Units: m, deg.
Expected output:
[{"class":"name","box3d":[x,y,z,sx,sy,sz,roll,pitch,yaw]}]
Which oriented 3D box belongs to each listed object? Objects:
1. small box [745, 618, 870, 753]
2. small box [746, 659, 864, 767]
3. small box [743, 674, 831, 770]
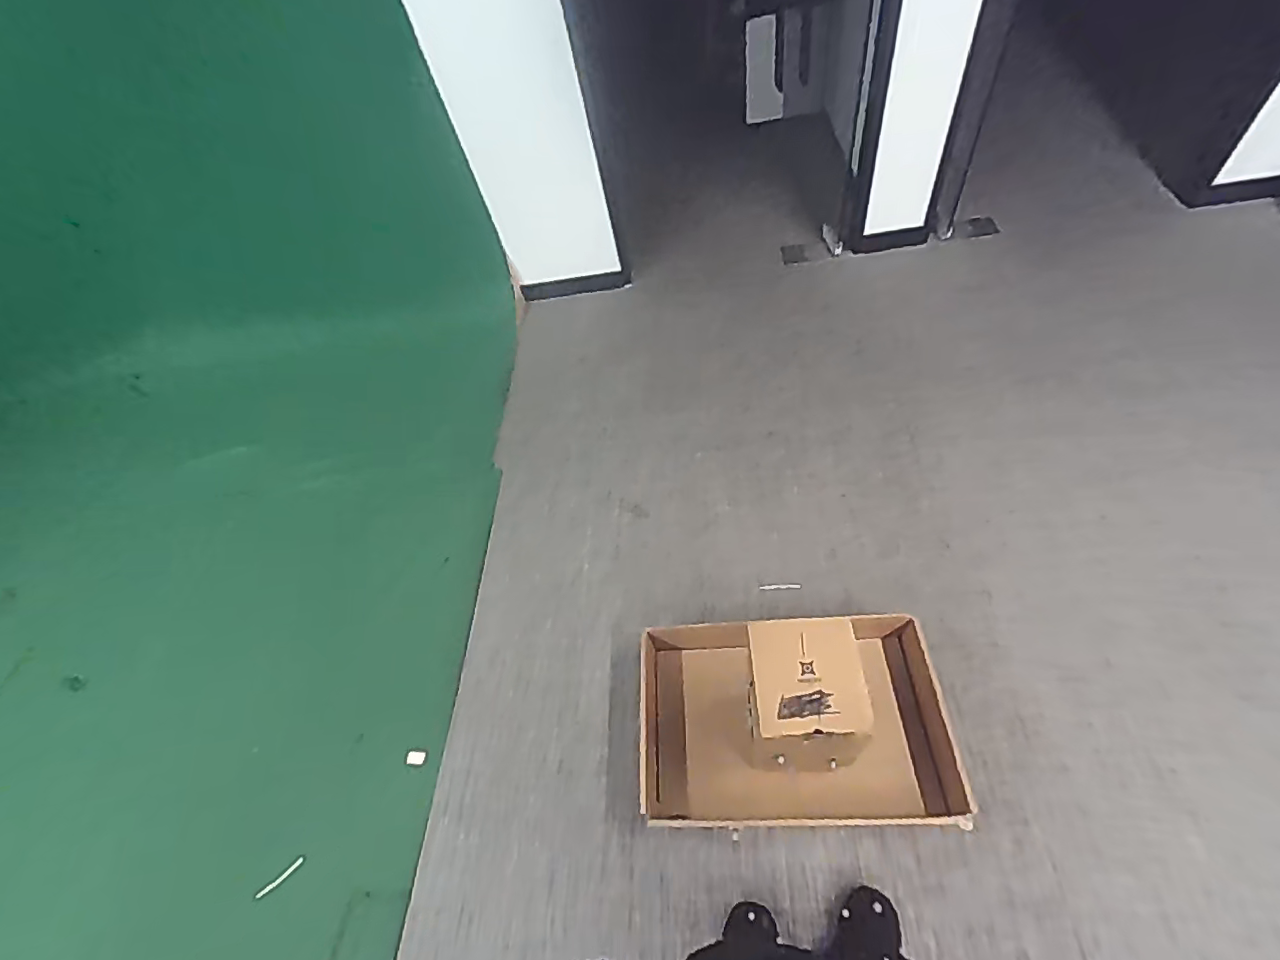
[{"class":"small box","box3d":[0.268,0.347,0.898,0.168,0.176,0.179,-5,52,8]},{"class":"small box","box3d":[0.297,0.433,1.015,0.179,0.176,0.168,-8,53,6]},{"class":"small box","box3d":[0.324,0.522,1.171,0.179,0.176,0.168,-7,53,7]}]
